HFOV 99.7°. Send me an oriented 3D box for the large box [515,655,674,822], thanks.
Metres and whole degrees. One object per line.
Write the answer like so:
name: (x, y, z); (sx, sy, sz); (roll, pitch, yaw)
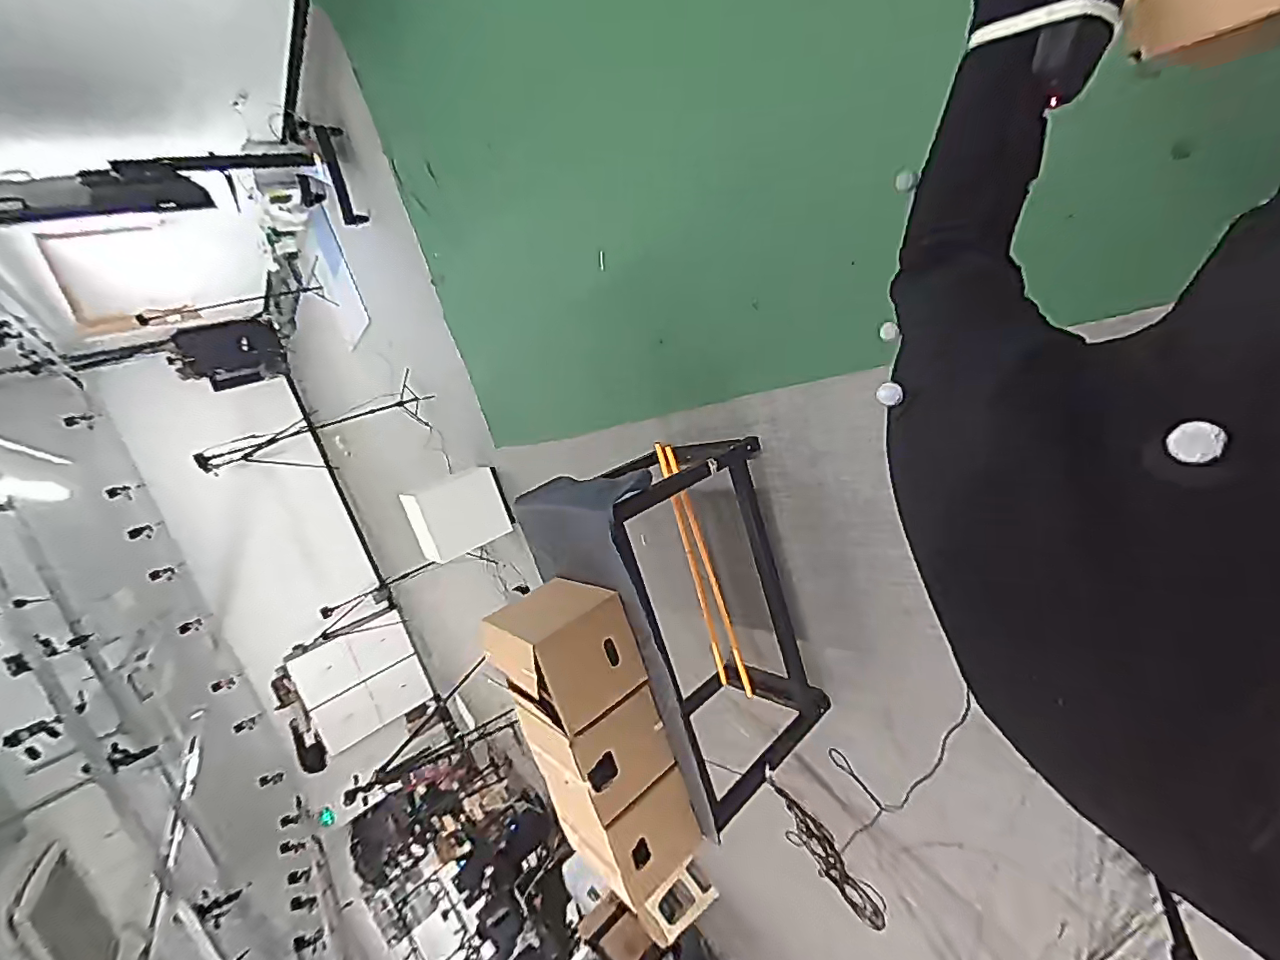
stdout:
large box: (-0.158, 0.832, 1.812); (0.408, 0.320, 0.320); (-5, 107, 53)
